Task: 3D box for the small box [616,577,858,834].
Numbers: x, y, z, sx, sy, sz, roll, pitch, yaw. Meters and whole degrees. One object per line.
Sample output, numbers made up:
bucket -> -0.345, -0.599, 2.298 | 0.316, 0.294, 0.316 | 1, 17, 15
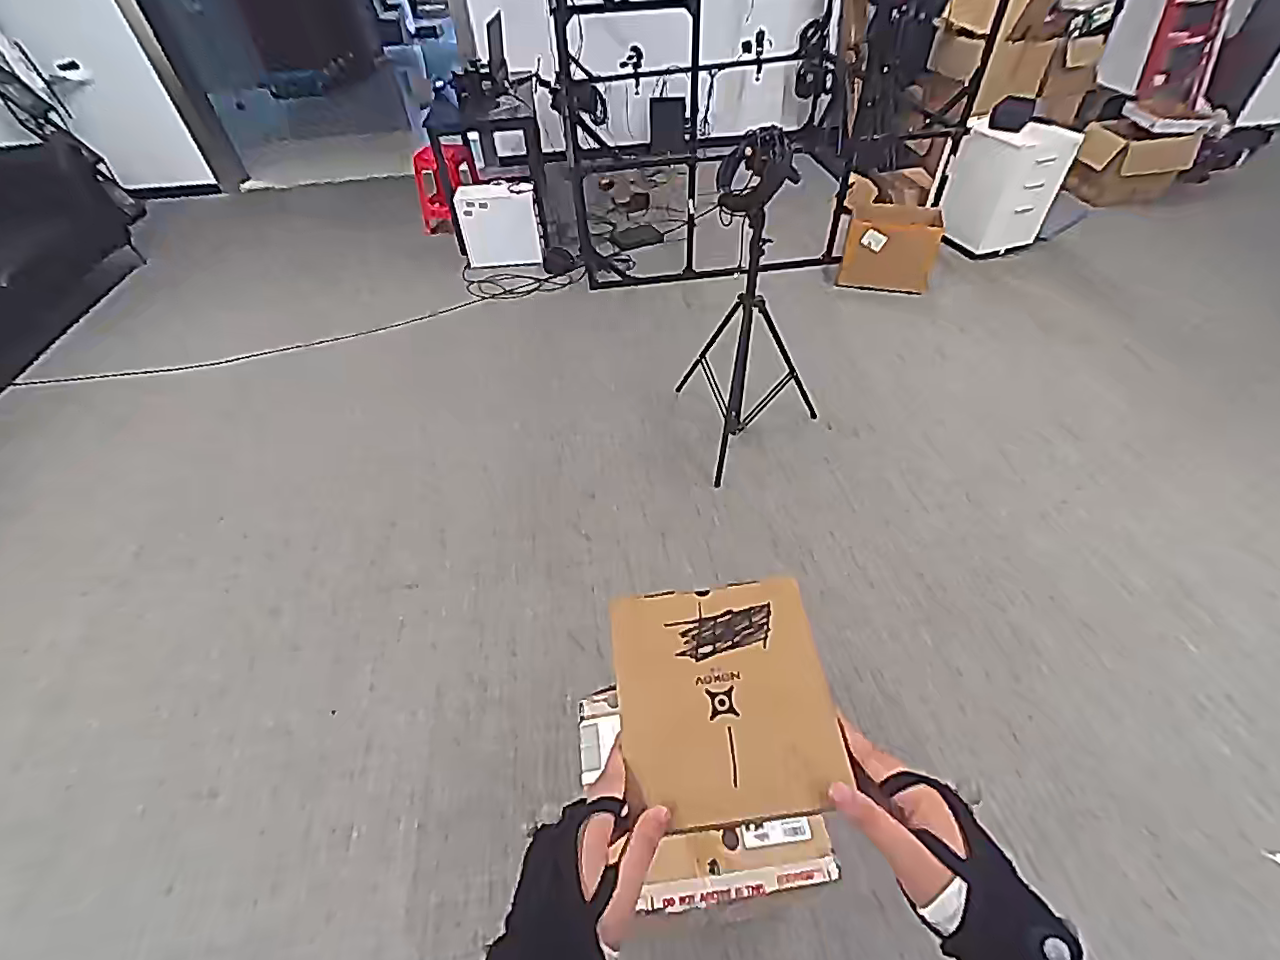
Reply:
small box -> 0.072, 0.210, 0.495 | 0.168, 0.176, 0.179 | -8, 56, 0
